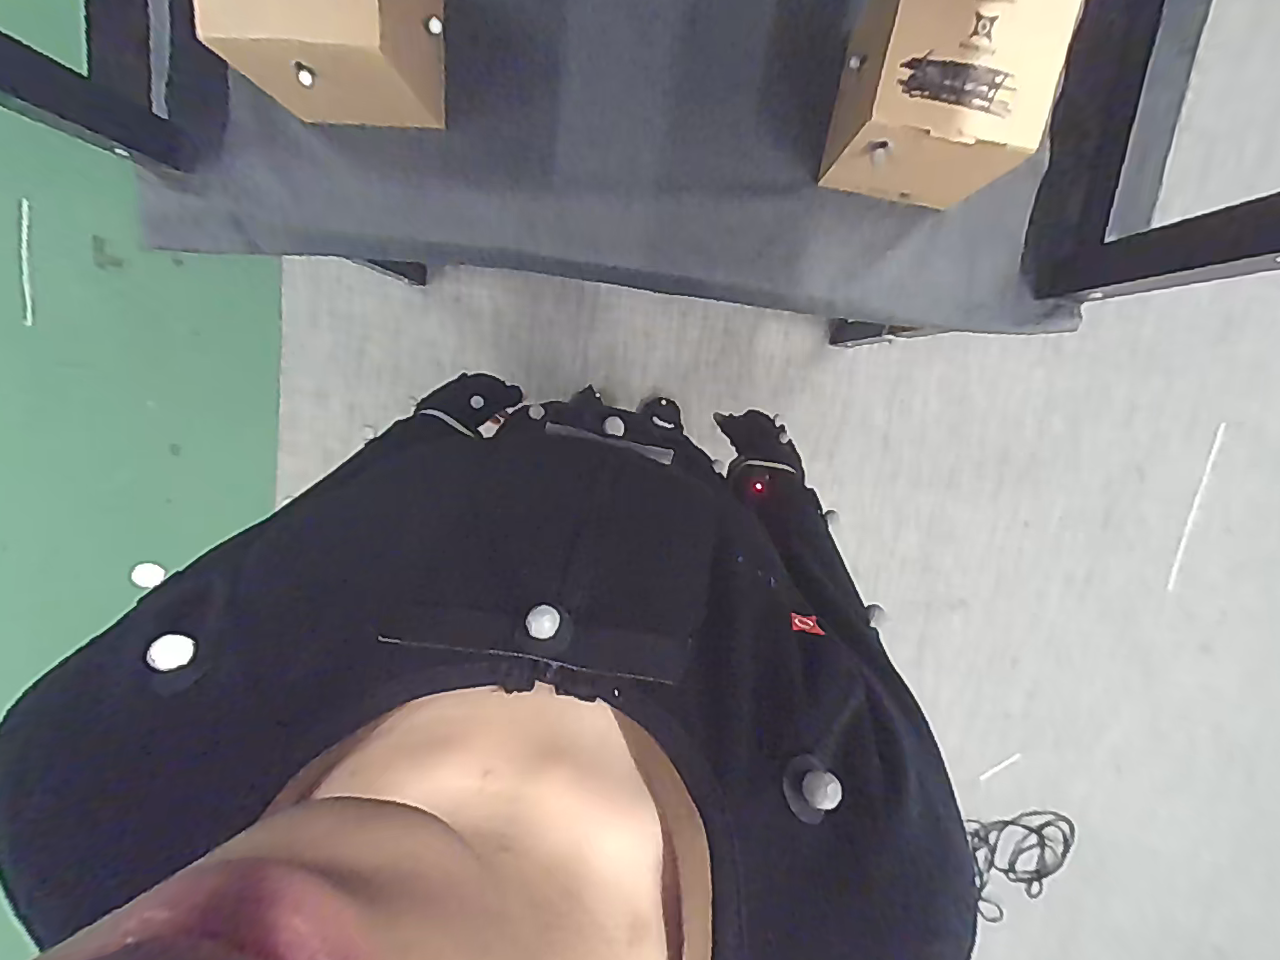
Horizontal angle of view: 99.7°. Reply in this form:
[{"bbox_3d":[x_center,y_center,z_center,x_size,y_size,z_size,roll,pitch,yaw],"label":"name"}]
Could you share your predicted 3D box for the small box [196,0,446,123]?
[{"bbox_3d":[-0.323,-0.507,0.573,0.179,0.176,0.168,3,101,-1],"label":"small box"}]
